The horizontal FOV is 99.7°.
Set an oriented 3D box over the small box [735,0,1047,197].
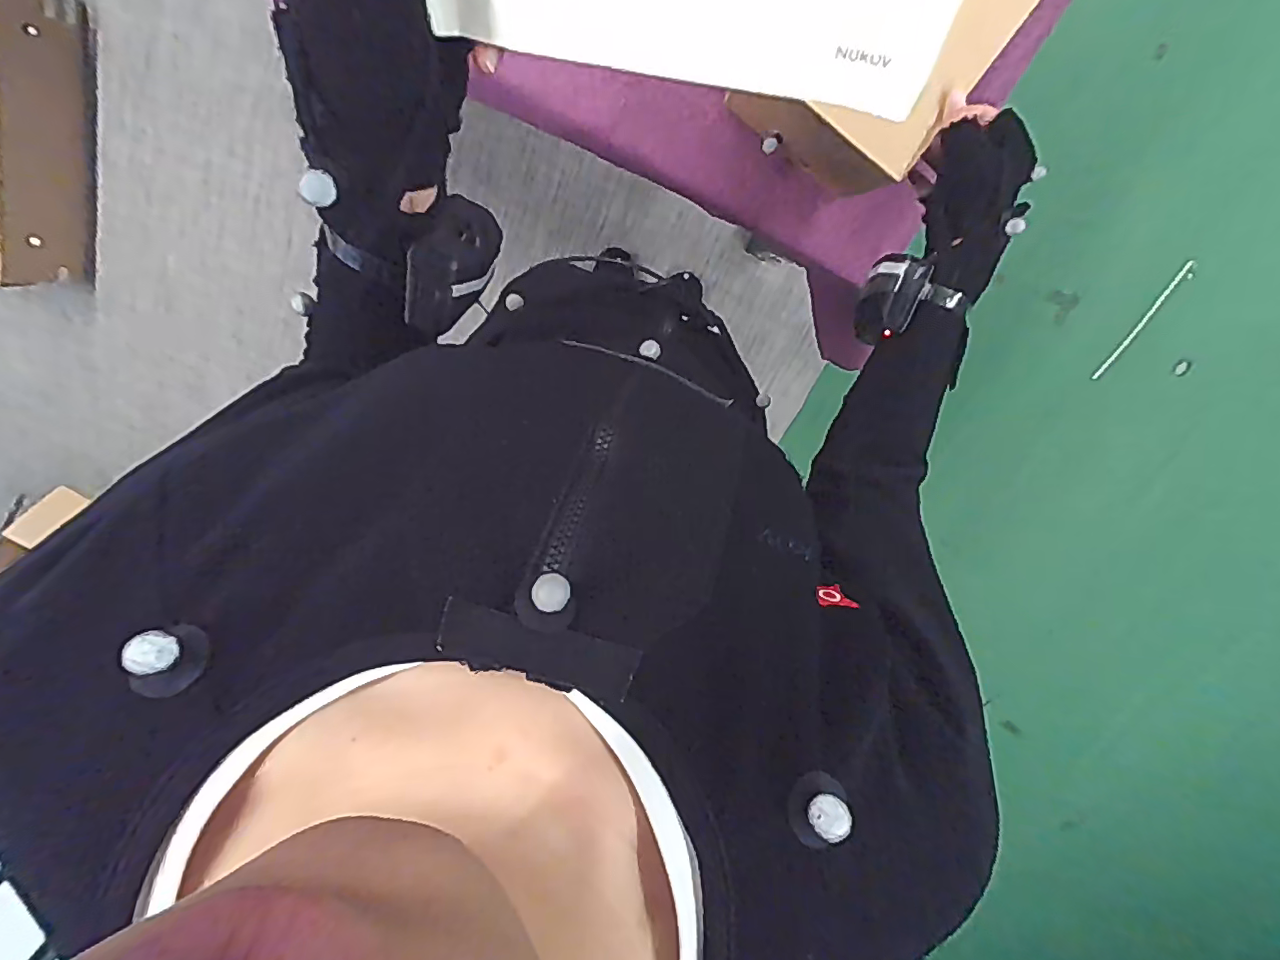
[{"bbox_3d":[0.202,-0.384,0.480,0.168,0.176,0.179,33,111,-11],"label":"small box"}]
